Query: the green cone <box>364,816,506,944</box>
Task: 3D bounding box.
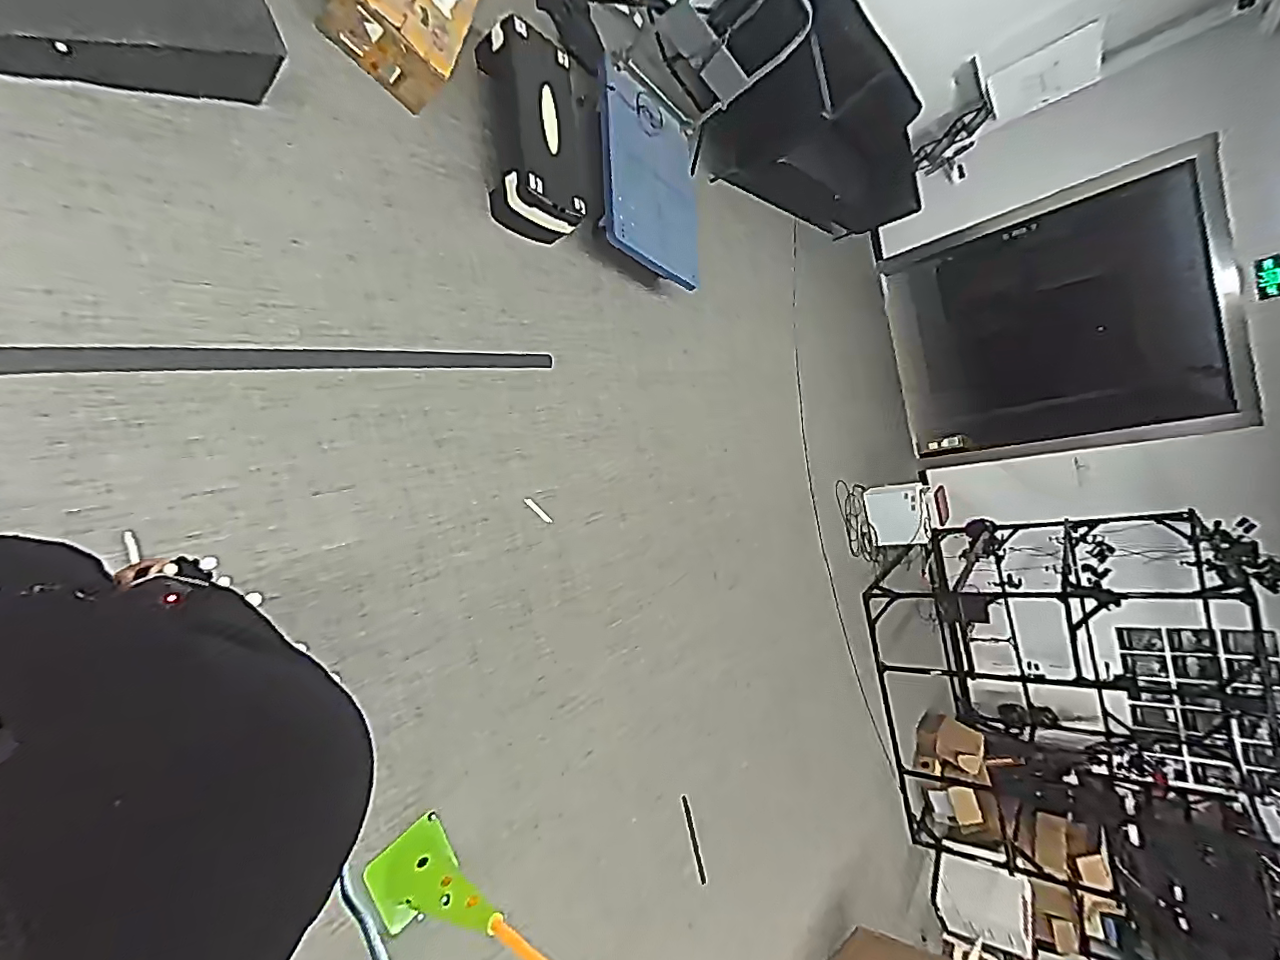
[{"bbox_3d":[-0.438,0.970,1.245,0.200,0.368,0.202,-30,107,-49],"label":"green cone"}]
